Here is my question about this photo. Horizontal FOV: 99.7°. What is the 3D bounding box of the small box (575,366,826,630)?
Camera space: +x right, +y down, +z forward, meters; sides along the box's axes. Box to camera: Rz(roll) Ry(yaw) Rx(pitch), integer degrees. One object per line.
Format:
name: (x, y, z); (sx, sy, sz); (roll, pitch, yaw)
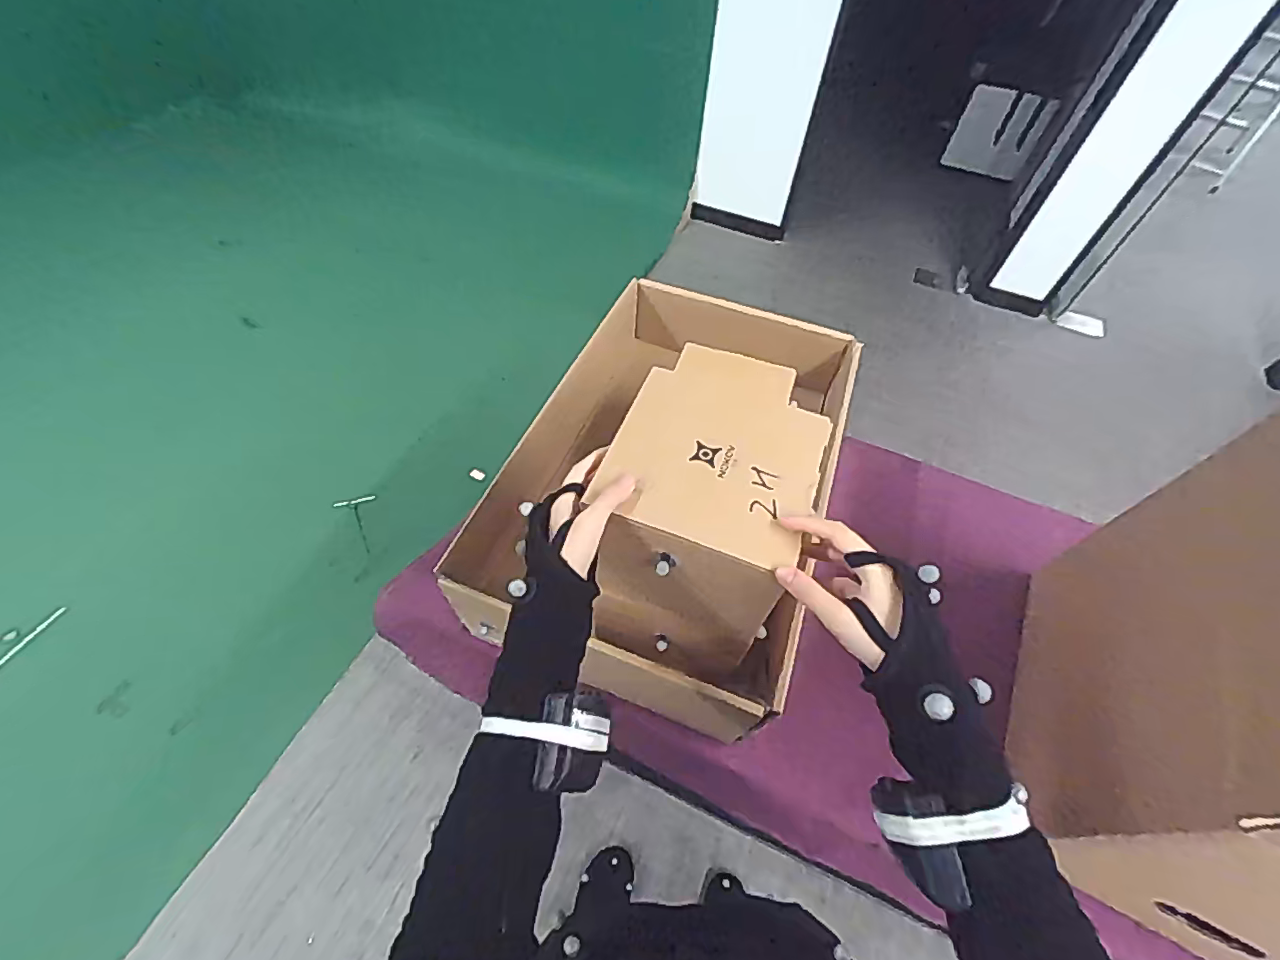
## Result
small box: (0.054, 0.024, 0.524); (0.179, 0.176, 0.168); (20, 59, 10)

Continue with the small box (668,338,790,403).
small box: (0.109, -0.075, 0.801); (0.168, 0.176, 0.179); (16, 56, 9)
